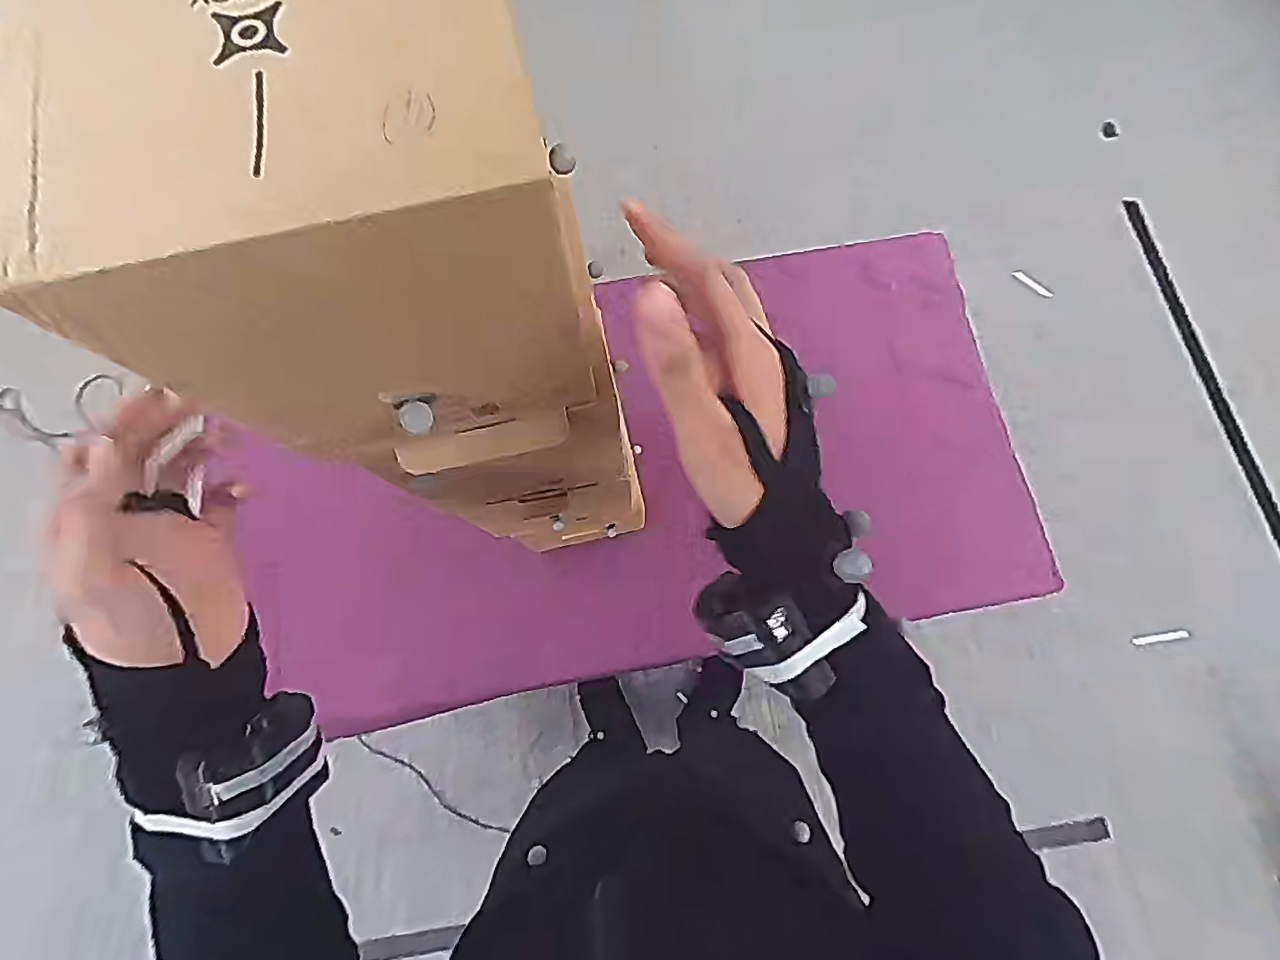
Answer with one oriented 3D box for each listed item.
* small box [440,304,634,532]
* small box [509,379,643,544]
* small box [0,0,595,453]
[{"bbox_3d":[-0.101,-0.053,0.567,0.168,0.176,0.179,-10,77,-2],"label":"small box"},{"bbox_3d":[-0.090,-0.016,0.727,0.168,0.176,0.179,-12,76,-3],"label":"small box"},{"bbox_3d":[-0.122,-0.131,0.247,0.168,0.176,0.179,-14,76,-3],"label":"small box"}]
